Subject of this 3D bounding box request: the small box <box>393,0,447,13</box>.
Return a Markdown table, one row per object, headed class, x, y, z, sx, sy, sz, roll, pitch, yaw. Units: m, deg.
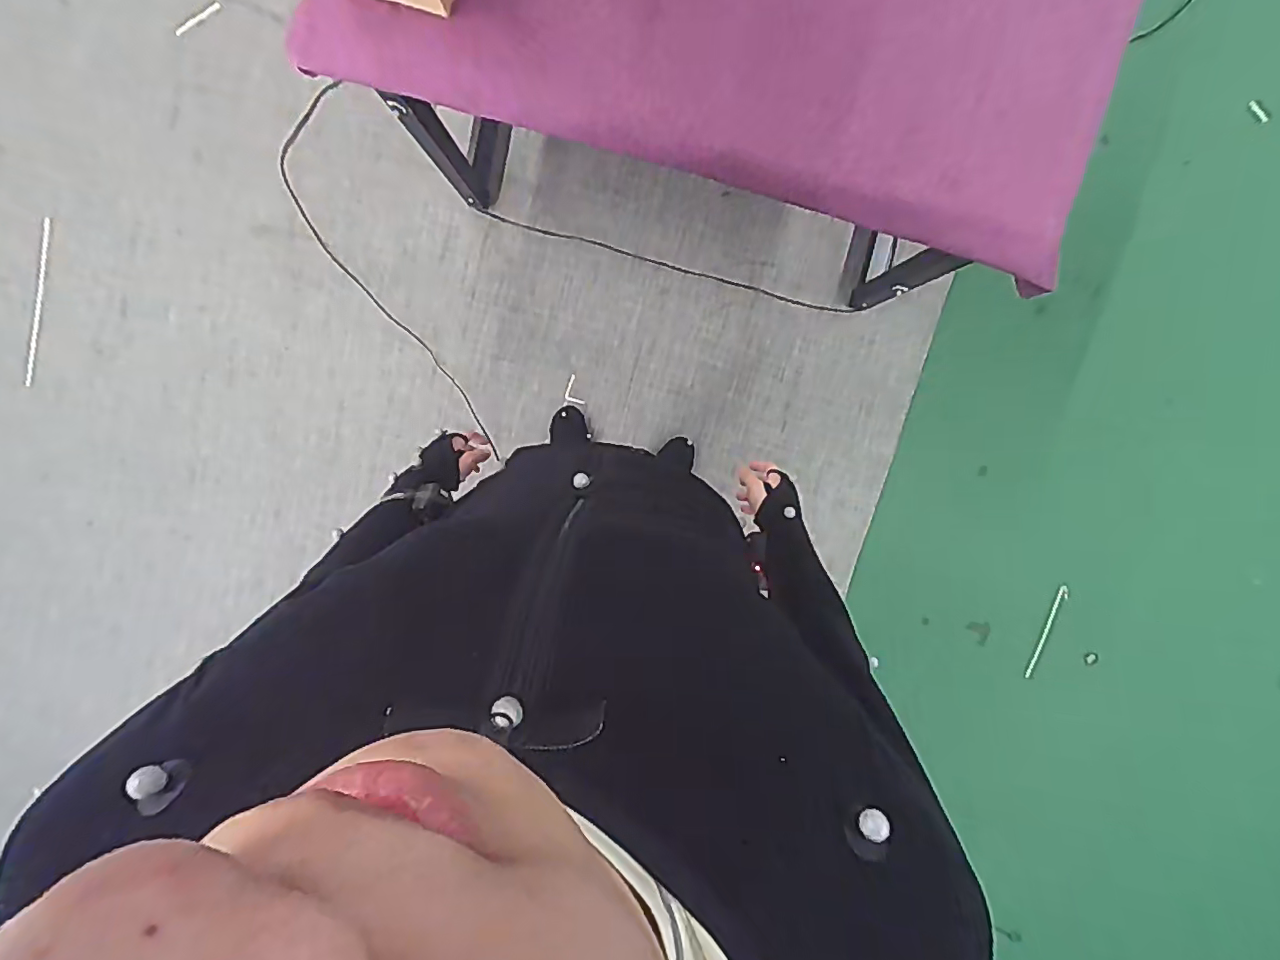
| class | x | y | z | sx | sy | sz | roll | pitch | yaw |
| --- | --- | --- | --- | --- | --- | --- | --- | --- | --- |
| small box | -0.344 | -0.784 | 0.711 | 0.168 | 0.176 | 0.179 | 15 | 97 | -3 |
